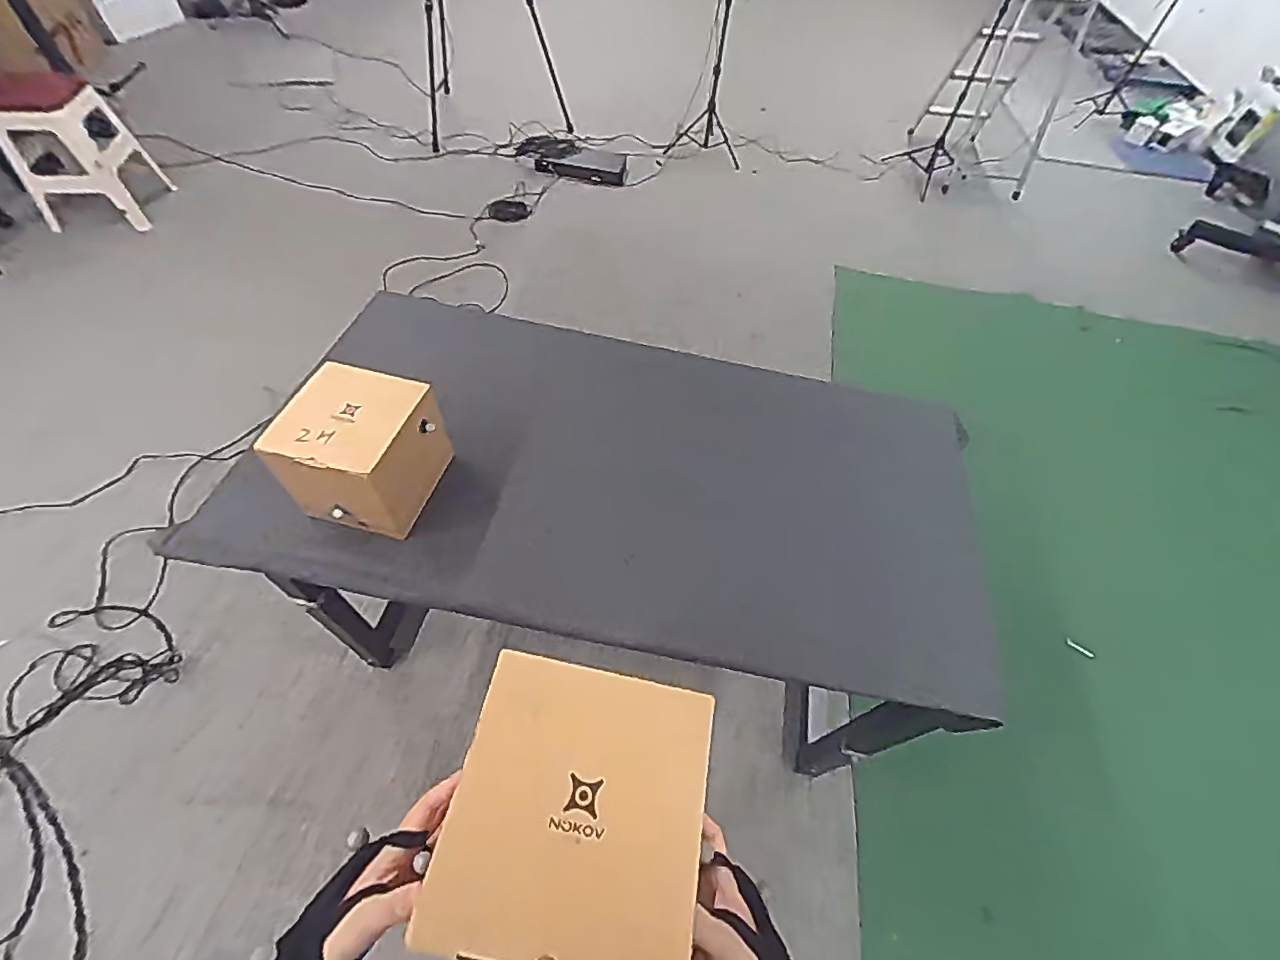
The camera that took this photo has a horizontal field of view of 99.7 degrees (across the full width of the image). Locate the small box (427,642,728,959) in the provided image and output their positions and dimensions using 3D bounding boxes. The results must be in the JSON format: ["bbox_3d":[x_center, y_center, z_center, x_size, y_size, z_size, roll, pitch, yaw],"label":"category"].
[{"bbox_3d":[-0.042,0.252,0.414,0.168,0.176,0.179,14,53,-3],"label":"small box"}]

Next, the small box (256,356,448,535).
[{"bbox_3d":[-0.402,-0.049,0.799,0.168,0.176,0.179,15,54,4],"label":"small box"}]
